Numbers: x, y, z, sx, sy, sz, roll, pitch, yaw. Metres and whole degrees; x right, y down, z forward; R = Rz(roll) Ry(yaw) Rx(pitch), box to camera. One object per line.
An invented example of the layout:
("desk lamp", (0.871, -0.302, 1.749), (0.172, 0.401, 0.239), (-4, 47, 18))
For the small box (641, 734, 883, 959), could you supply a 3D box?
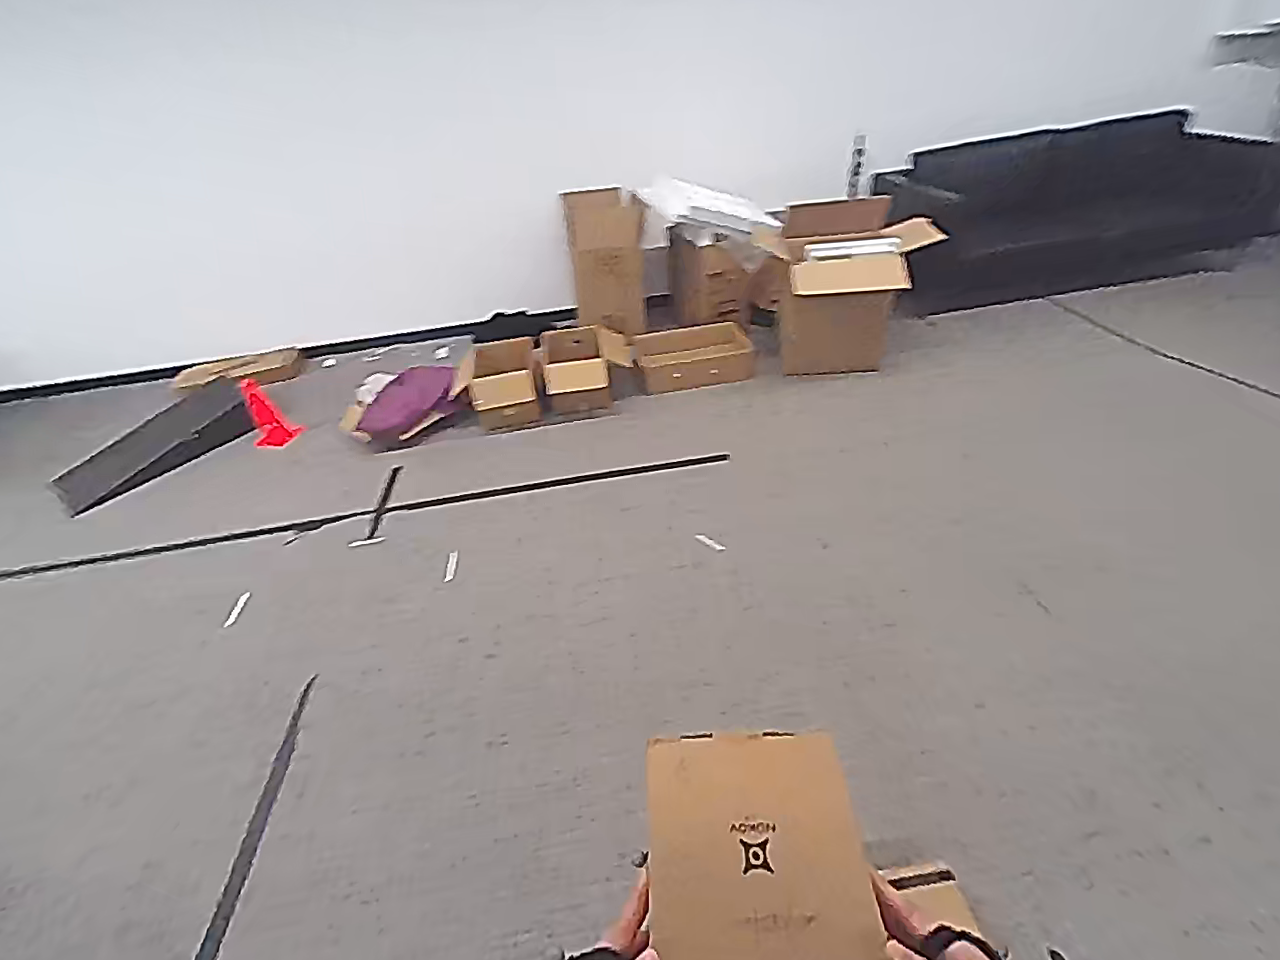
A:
("small box", (0.084, 0.343, 0.468), (0.168, 0.176, 0.179), (-2, 43, 0))
